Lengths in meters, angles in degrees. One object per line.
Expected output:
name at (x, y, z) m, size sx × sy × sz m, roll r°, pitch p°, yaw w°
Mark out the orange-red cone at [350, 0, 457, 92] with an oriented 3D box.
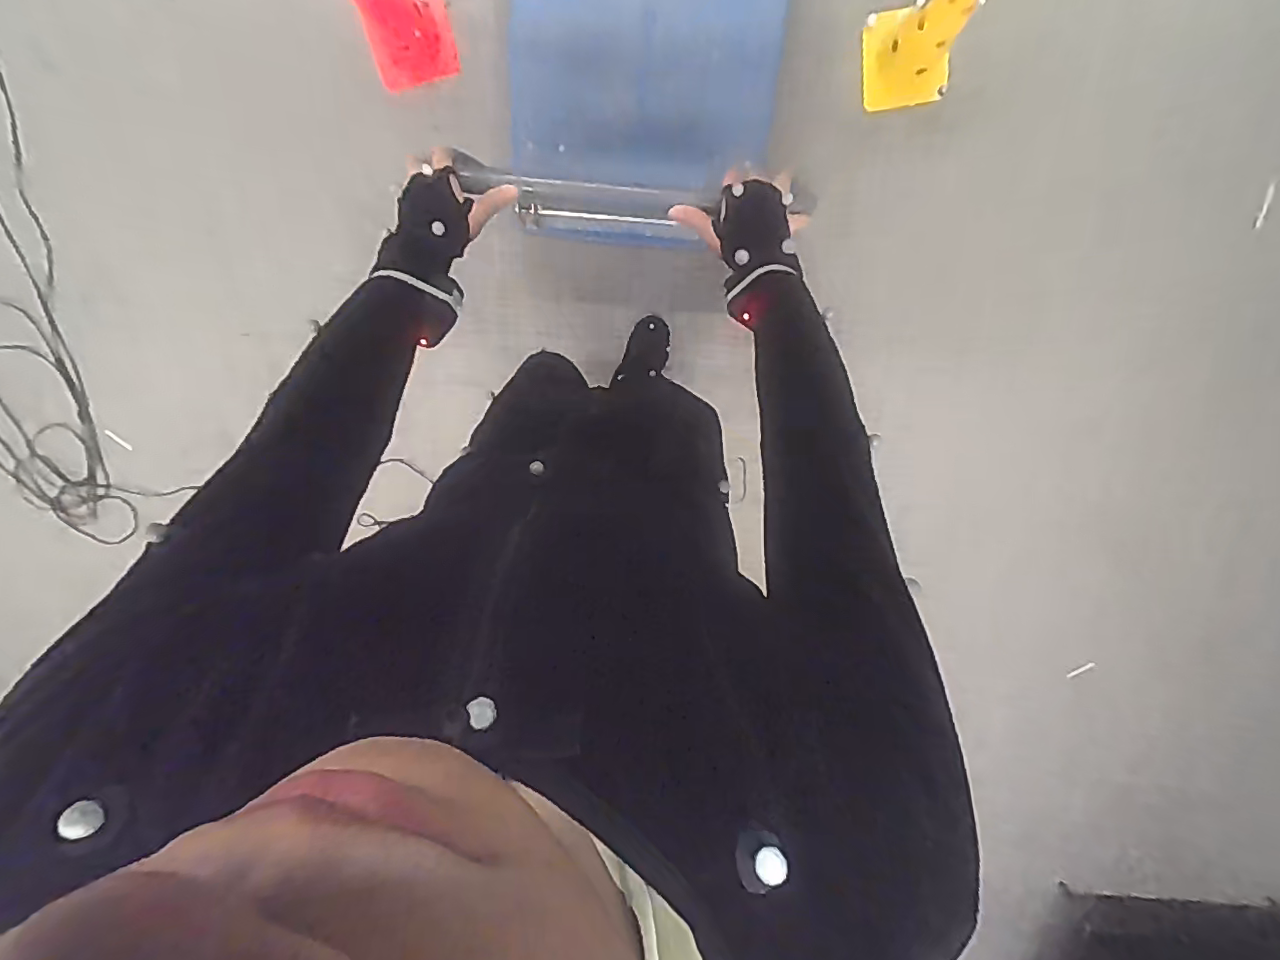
orange-red cone at (-0.560, -1.012, 1.140) m, size 0.199 × 0.360 × 0.198 m, roll -10°, pitch 107°, yaw 6°
